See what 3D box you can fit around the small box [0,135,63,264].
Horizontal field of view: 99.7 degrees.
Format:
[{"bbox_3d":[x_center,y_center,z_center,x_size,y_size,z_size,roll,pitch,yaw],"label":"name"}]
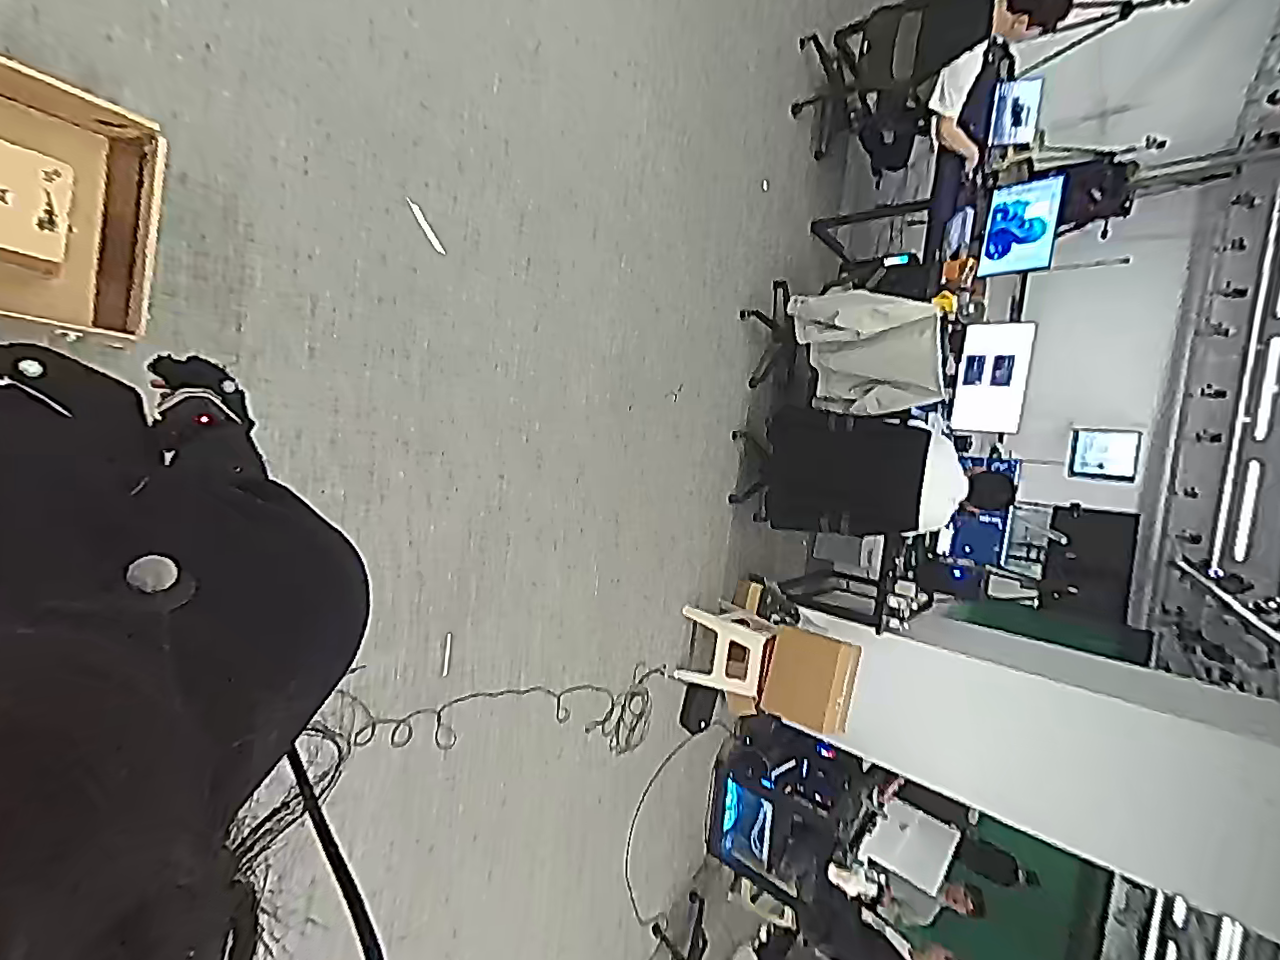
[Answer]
[{"bbox_3d":[-1.076,-0.467,0.877,0.179,0.176,0.168,8,92,-49],"label":"small box"}]
